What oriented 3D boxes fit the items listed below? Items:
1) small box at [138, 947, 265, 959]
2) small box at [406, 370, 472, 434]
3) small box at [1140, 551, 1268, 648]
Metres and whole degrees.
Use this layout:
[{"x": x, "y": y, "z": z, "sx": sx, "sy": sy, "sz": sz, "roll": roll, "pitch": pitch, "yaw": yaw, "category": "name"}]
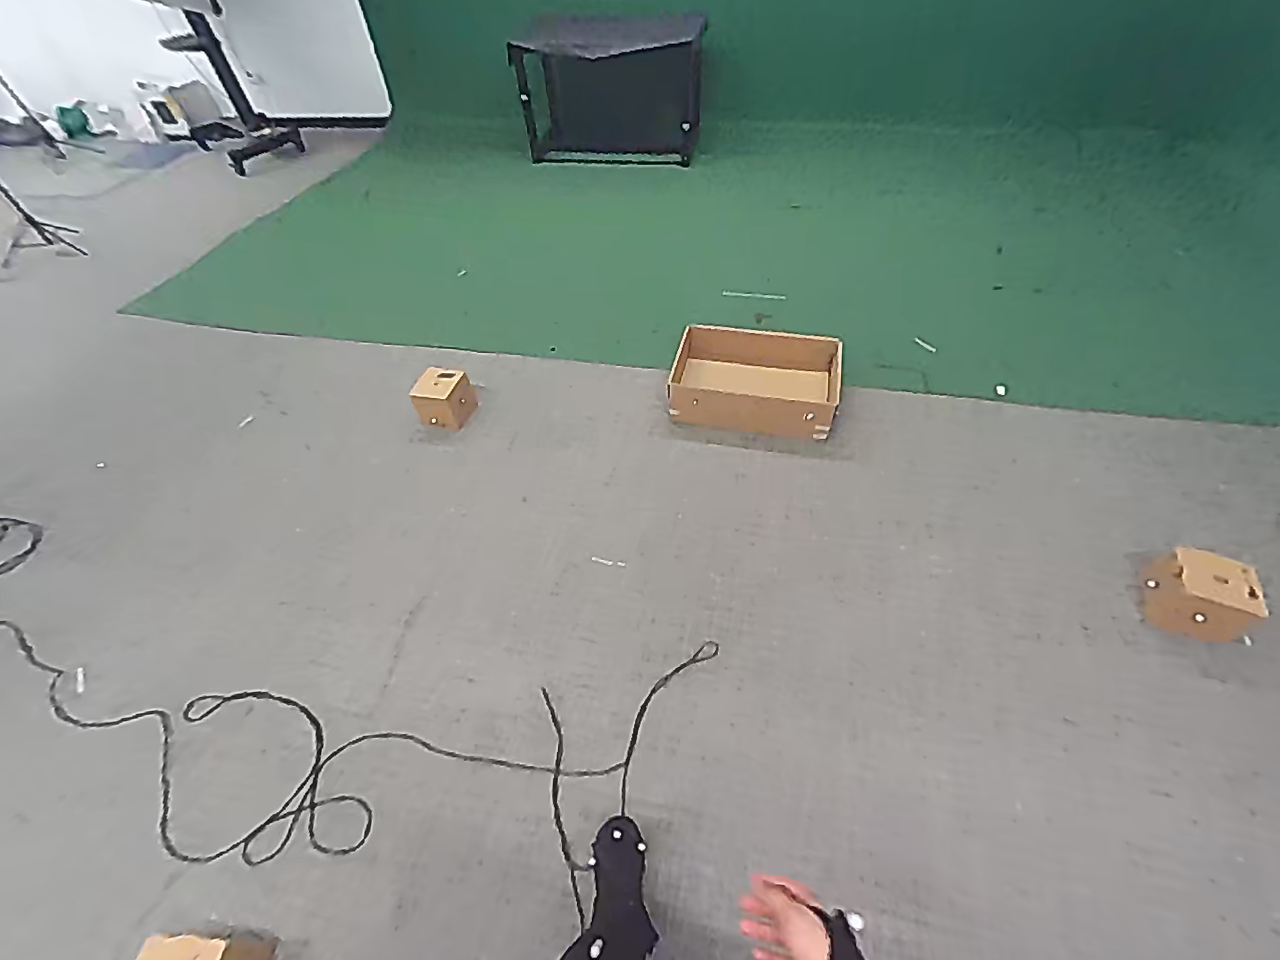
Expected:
[{"x": -0.855, "y": 1.000, "z": 1.014, "sx": 0.168, "sy": 0.176, "sz": 0.179, "roll": 1, "pitch": 48, "yaw": 5, "category": "small box"}, {"x": -0.791, "y": -0.310, "z": 2.157, "sx": 0.168, "sy": 0.176, "sz": 0.179, "roll": 9, "pitch": 51, "yaw": 11, "category": "small box"}, {"x": 1.488, "y": 0.323, "z": 1.448, "sx": 0.179, "sy": 0.176, "sz": 0.168, "roll": 17, "pitch": 52, "yaw": 19, "category": "small box"}]
